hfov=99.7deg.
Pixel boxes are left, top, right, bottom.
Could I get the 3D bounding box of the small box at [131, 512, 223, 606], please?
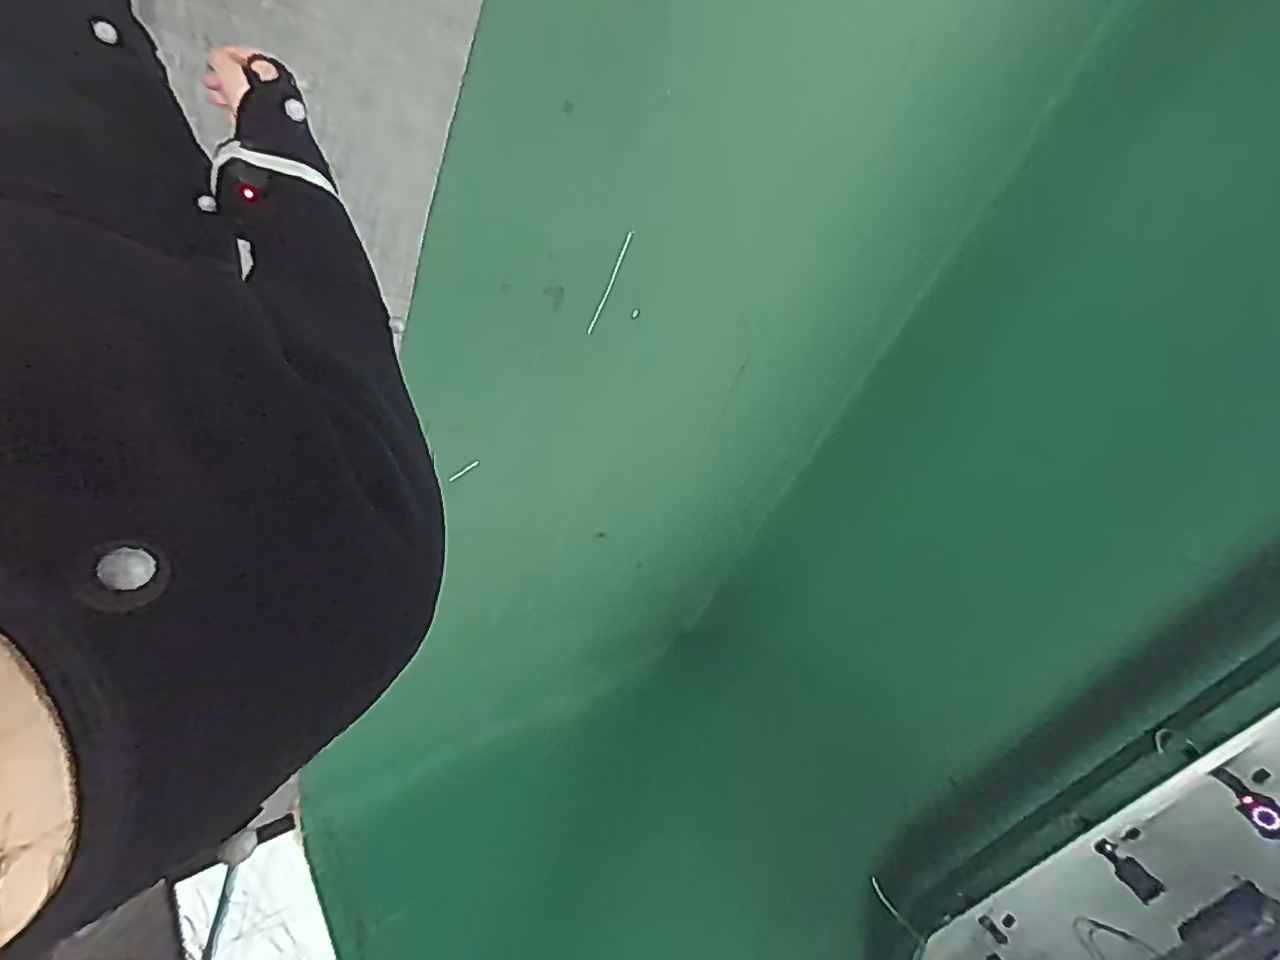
[{"bbox_3d":[-1.218,0.197,1.421,0.168,0.176,0.179,-4,131,-45],"label":"small box"}]
